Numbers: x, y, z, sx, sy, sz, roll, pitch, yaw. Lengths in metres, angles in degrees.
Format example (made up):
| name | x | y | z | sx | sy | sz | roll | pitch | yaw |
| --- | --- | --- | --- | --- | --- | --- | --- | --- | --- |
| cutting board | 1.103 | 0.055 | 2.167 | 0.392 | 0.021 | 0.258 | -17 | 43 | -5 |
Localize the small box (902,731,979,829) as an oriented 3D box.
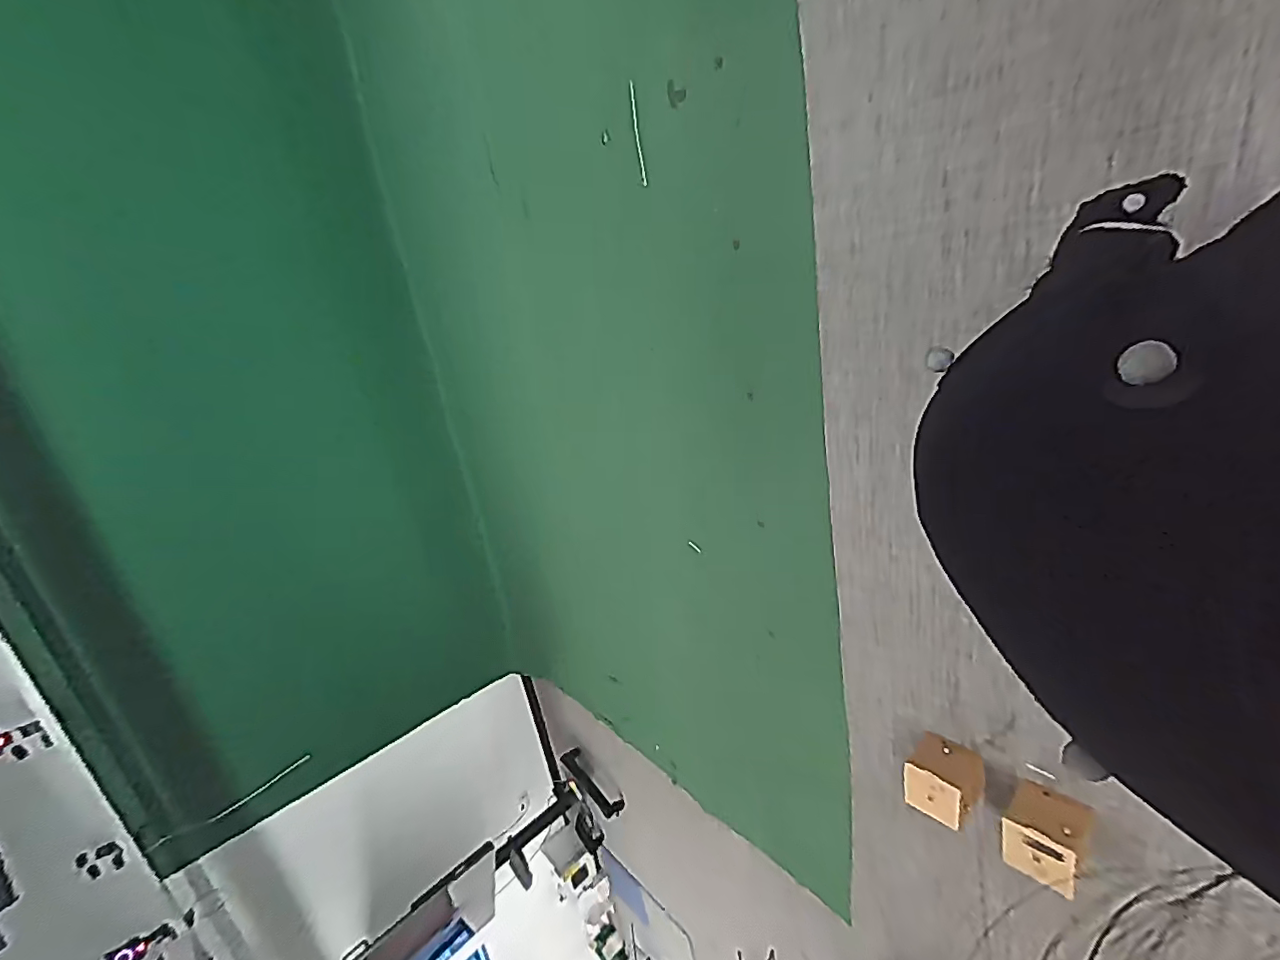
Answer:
| name | x | y | z | sx | sy | sz | roll | pitch | yaw |
| --- | --- | --- | --- | --- | --- | --- | --- | --- | --- |
| small box | 0.961 | 0.952 | 1.728 | 0.168 | 0.176 | 0.179 | 13 | 118 | 48 |
